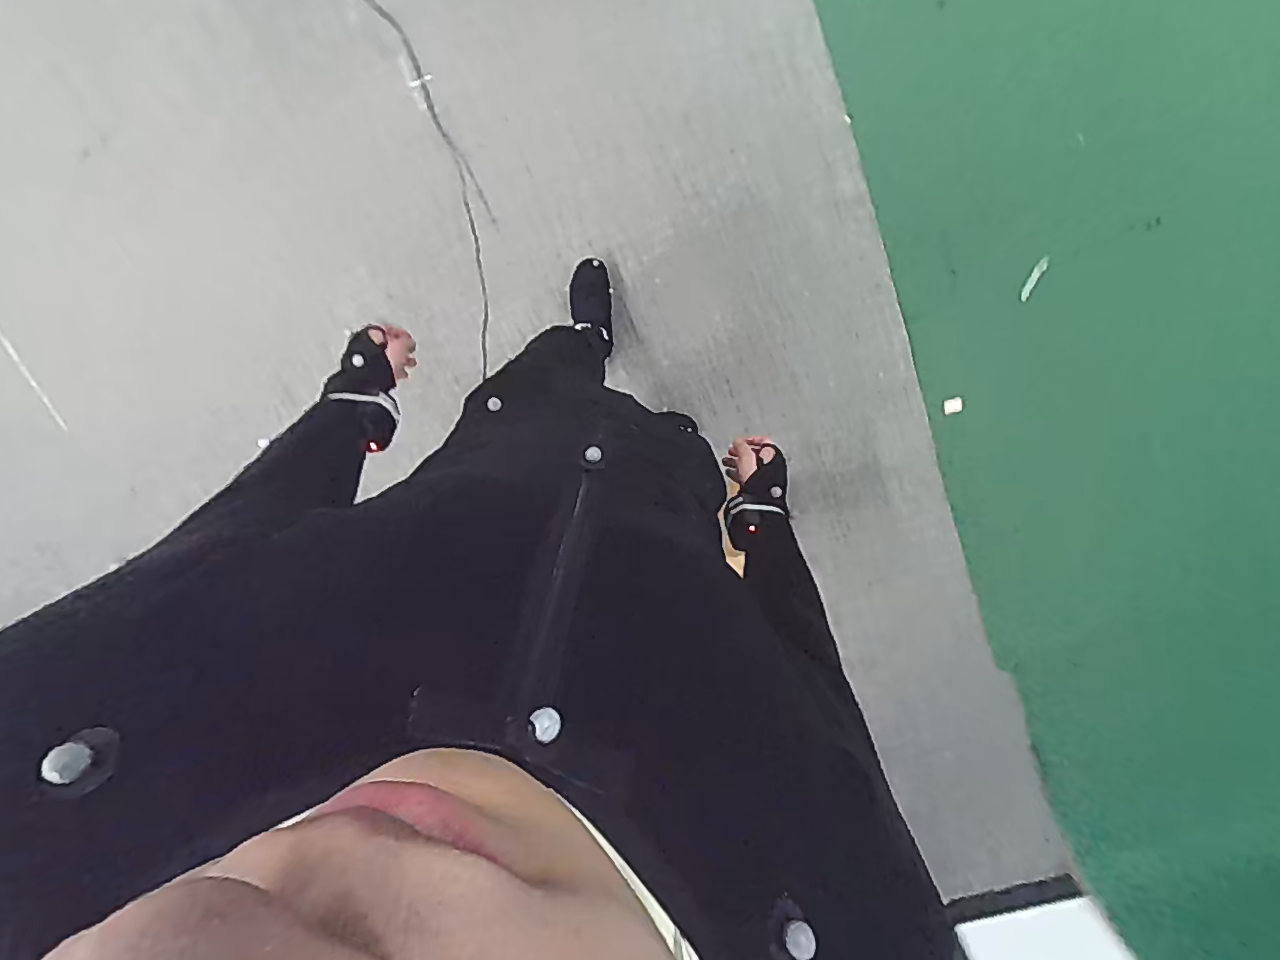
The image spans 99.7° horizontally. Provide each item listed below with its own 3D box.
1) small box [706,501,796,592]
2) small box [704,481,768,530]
[{"bbox_3d":[0.285,0.170,1.435,0.179,0.176,0.168,16,105,-2],"label":"small box"},{"bbox_3d":[0.286,0.111,1.579,0.168,0.176,0.179,-15,105,8],"label":"small box"}]
